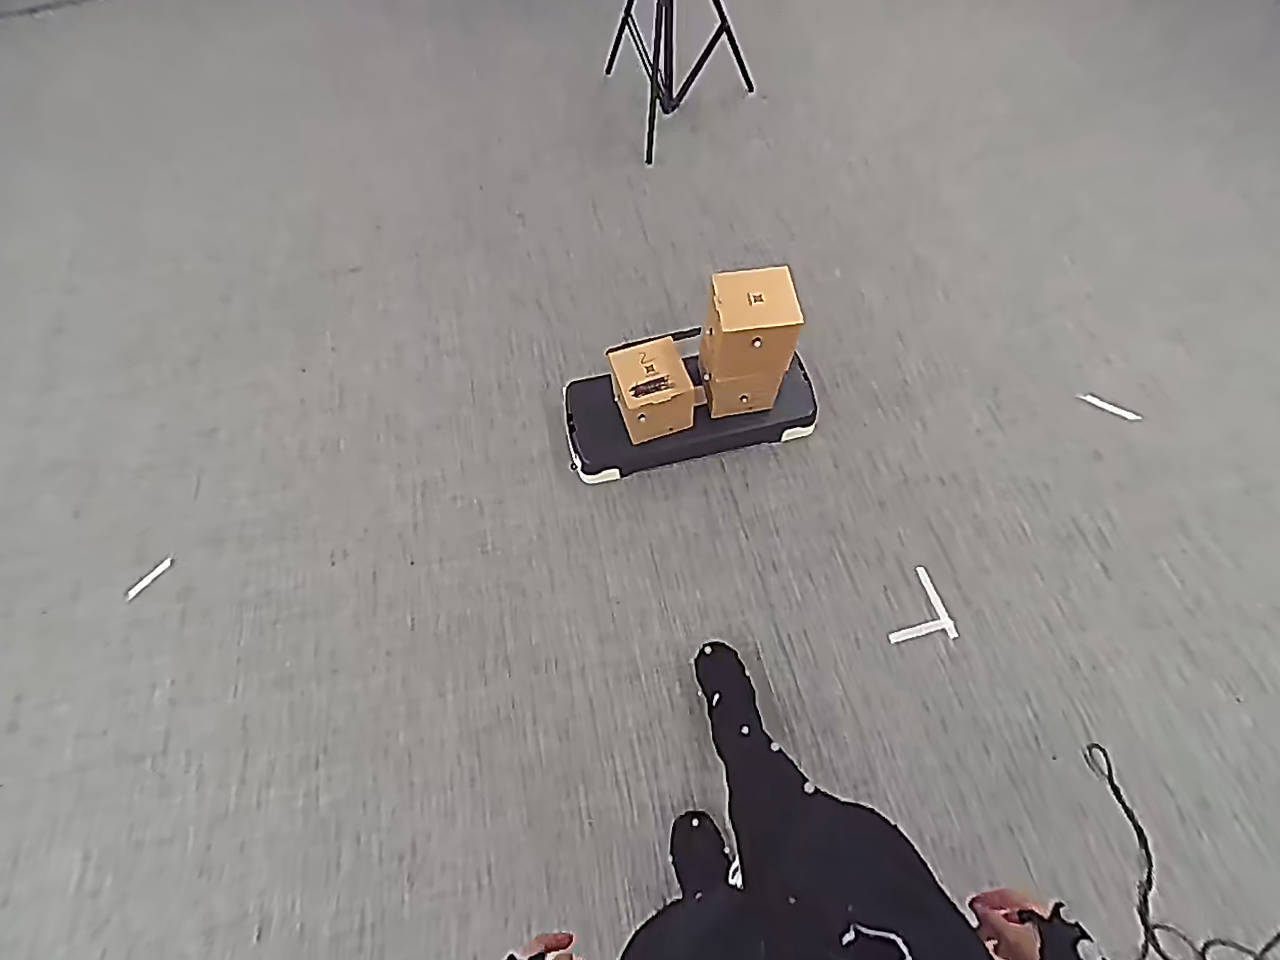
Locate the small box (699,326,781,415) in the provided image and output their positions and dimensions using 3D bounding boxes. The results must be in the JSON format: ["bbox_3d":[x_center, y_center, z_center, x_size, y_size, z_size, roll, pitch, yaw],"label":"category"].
[{"bbox_3d":[0.247,-0.281,1.381,0.168,0.176,0.179,-9,65,-2],"label":"small box"}]

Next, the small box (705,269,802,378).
[{"bbox_3d":[0.251,-0.352,1.235,0.179,0.176,0.168,-7,65,1],"label":"small box"}]
